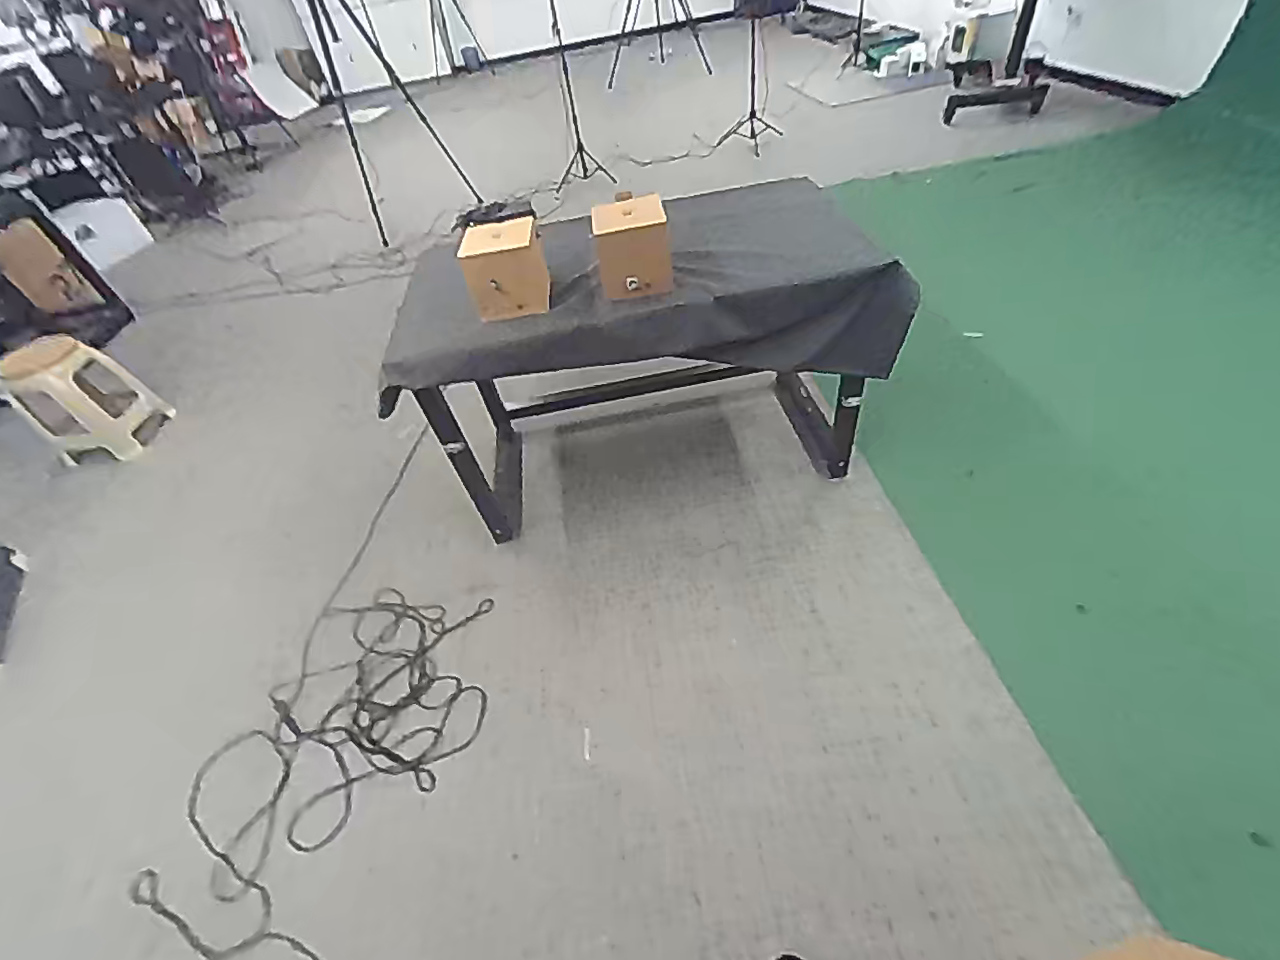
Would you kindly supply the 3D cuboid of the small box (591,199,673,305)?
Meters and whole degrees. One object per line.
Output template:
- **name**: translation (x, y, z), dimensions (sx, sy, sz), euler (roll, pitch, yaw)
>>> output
- **small box**: translation (-0.018, -0.541, 1.288), dimensions (0.168, 0.176, 0.179), euler (-11, 46, 2)

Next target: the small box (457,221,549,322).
- **small box**: translation (-0.319, -0.494, 1.301), dimensions (0.168, 0.176, 0.179), euler (-10, 44, 2)
